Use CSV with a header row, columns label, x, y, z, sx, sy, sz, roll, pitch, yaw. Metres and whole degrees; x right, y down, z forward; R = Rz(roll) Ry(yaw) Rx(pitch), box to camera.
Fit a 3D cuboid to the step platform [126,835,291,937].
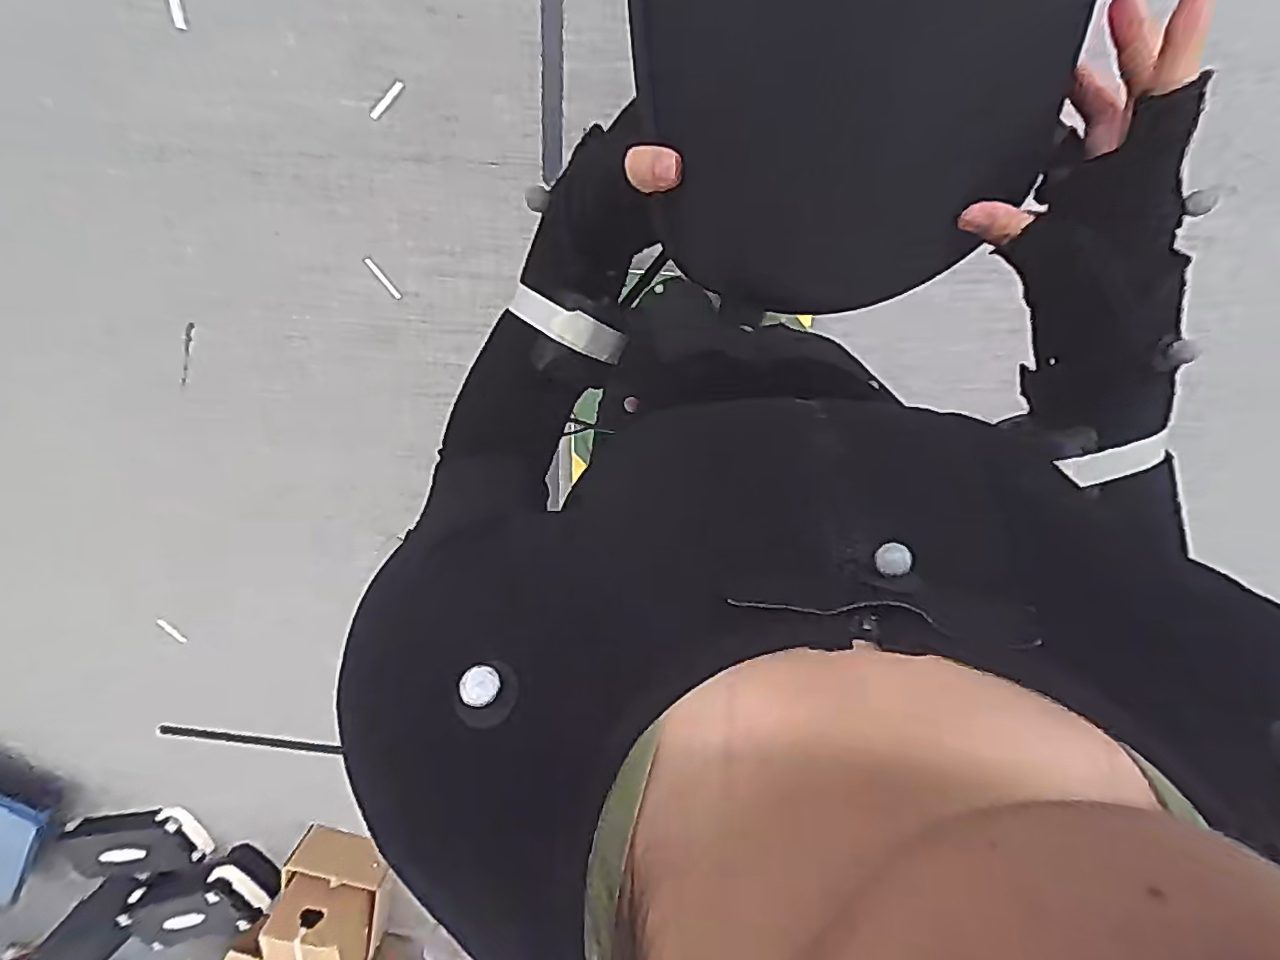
label,x,y,z,sx,sy,sz,roll,pitch,yaw
step platform,-1.978,1.867,2.477,0.684,0.204,0.286,-23,109,14
